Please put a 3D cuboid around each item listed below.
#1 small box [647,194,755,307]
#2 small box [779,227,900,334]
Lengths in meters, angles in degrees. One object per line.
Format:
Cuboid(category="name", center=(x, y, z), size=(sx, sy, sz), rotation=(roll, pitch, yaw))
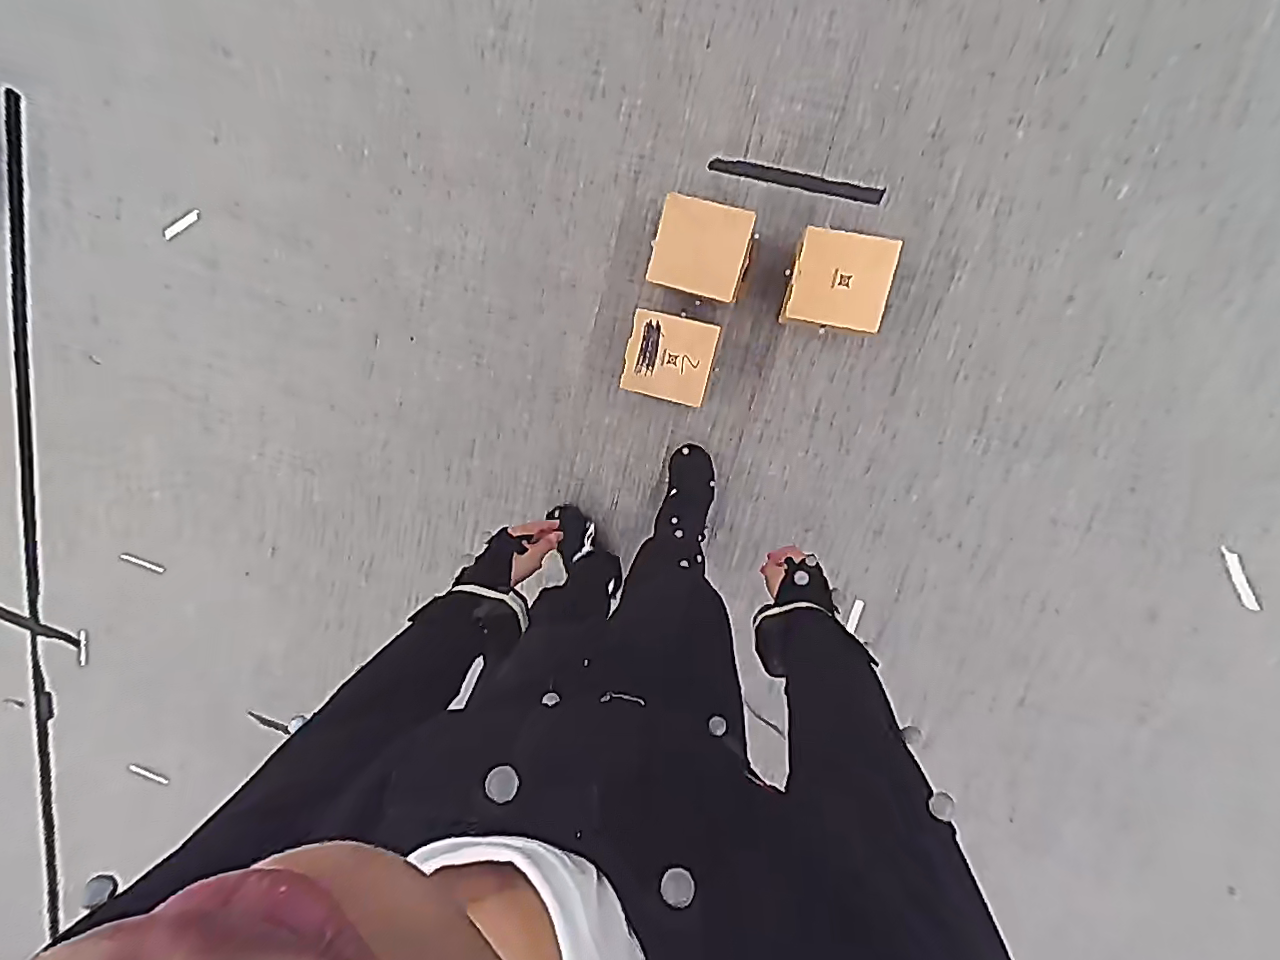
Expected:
Cuboid(category="small box", center=(0.128, -0.462, 1.109), size=(0.179, 0.176, 0.168), rotation=(17, 105, 6))
Cuboid(category="small box", center=(0.388, -0.390, 1.083), size=(0.179, 0.176, 0.168), rotation=(13, 105, 8))
